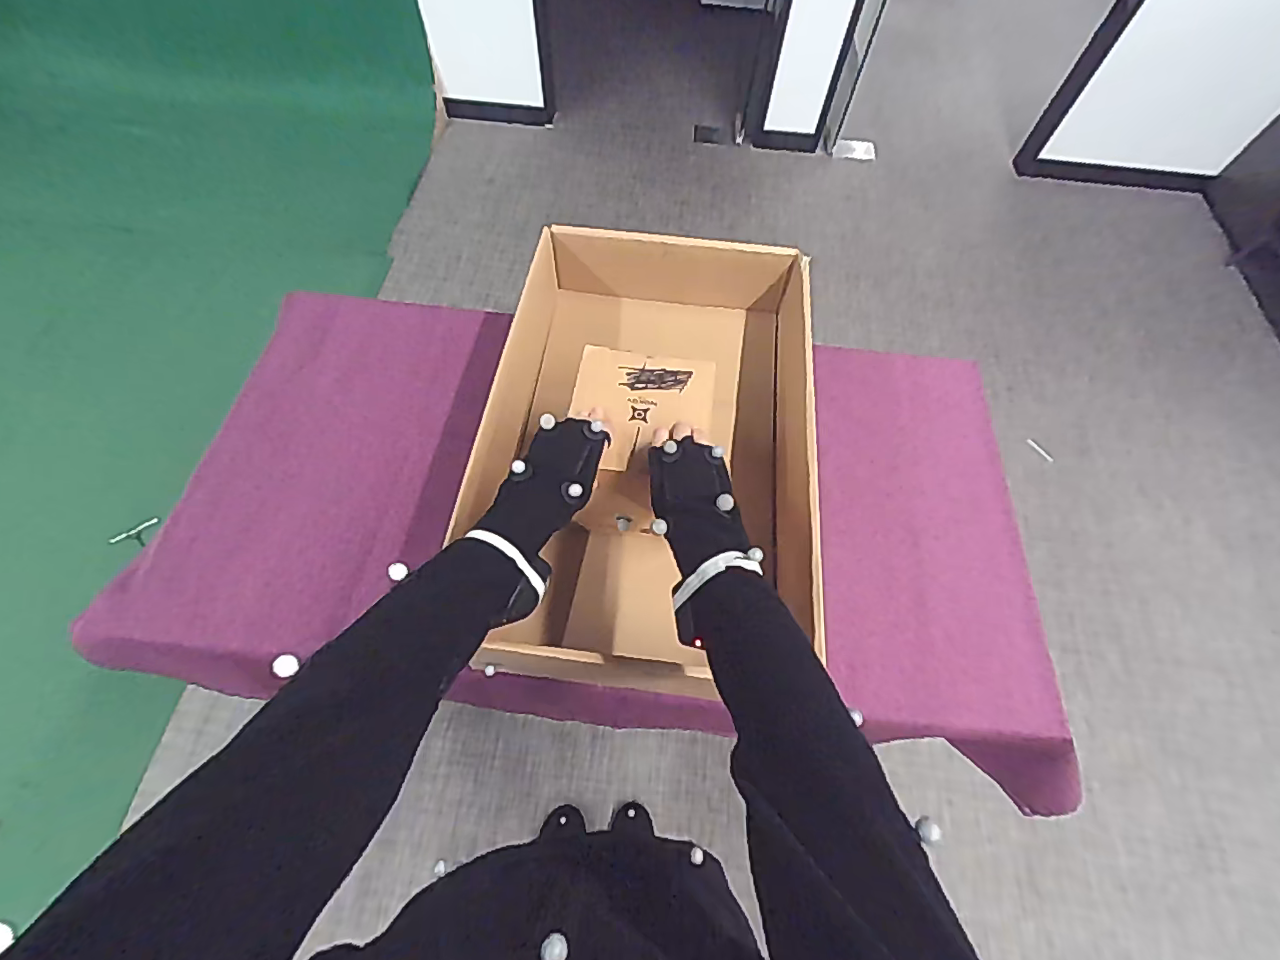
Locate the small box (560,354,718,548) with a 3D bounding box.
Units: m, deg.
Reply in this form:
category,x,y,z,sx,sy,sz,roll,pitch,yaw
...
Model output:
category,x,y,z,sx,sy,sz,roll,pitch,yaw
small box,0.000,-0.032,0.695,0.168,0.176,0.179,7,61,2
